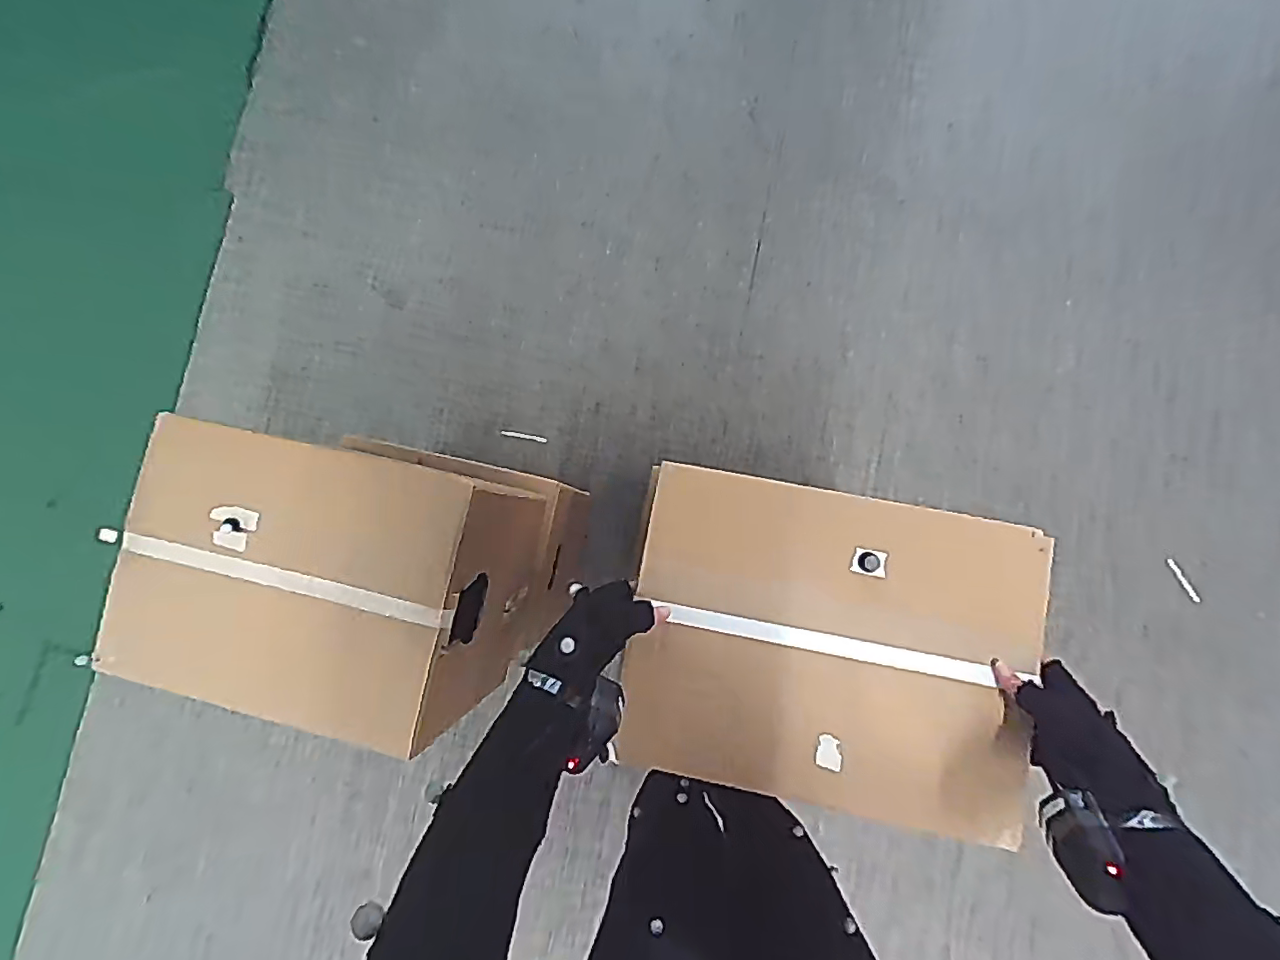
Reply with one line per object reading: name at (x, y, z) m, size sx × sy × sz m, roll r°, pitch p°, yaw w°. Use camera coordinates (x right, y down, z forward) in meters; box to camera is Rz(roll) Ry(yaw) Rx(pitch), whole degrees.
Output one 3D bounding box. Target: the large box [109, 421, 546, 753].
large box at (-0.390, 0.124, 0.769) m, size 0.408 × 0.320 × 0.320 m, roll 12°, pitch 86°, yaw 7°
